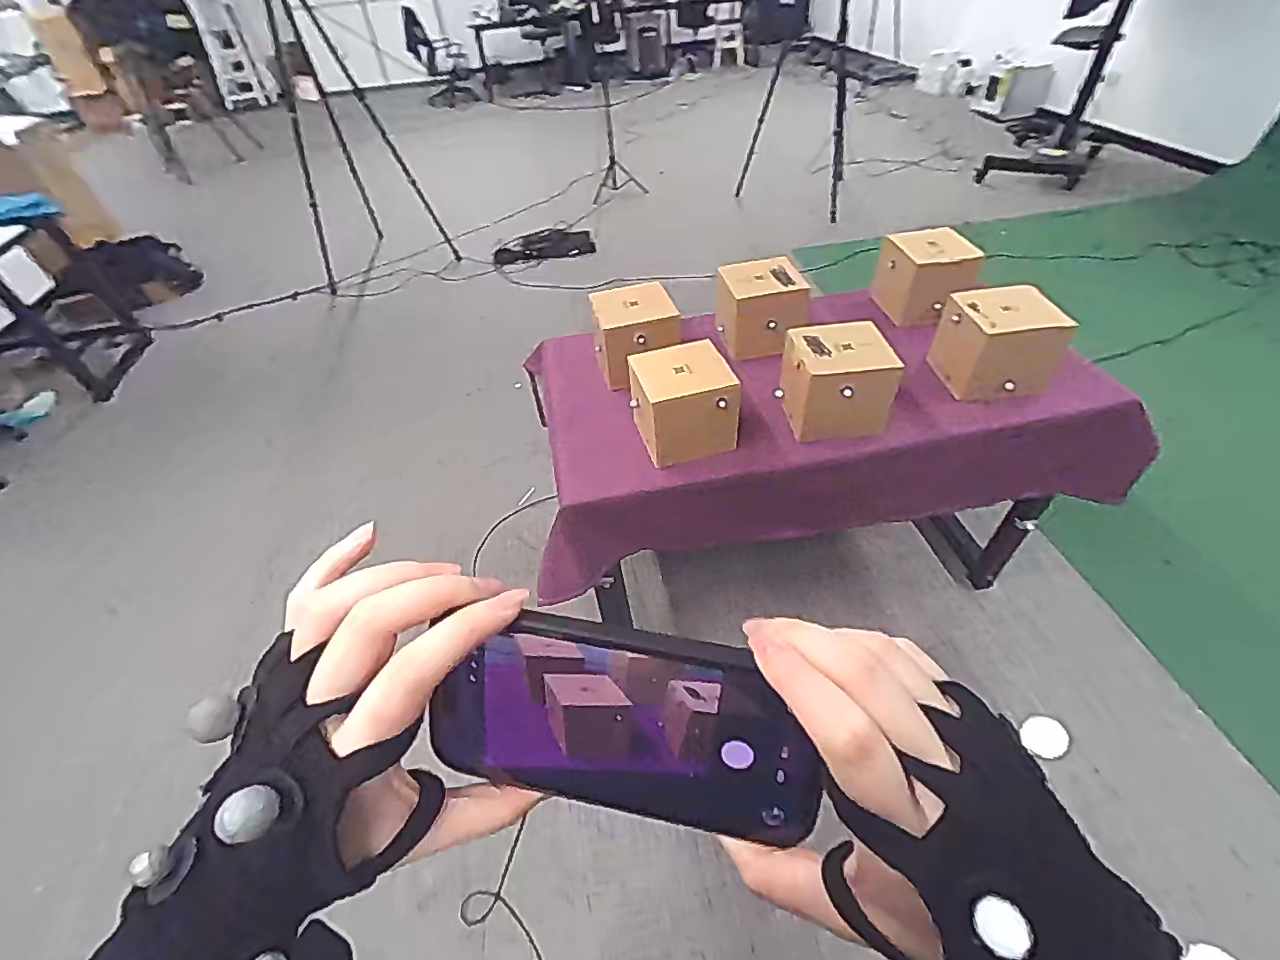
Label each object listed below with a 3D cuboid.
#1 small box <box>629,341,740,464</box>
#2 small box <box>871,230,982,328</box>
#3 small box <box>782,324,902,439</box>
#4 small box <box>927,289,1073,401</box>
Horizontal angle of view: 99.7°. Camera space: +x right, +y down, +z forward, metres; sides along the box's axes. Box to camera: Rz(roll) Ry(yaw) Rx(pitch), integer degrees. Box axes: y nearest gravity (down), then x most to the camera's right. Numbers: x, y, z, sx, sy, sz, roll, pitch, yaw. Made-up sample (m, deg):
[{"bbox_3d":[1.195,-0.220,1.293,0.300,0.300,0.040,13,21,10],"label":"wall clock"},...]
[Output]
[{"bbox_3d":[0.087,-0.152,1.091,0.179,0.176,0.168,-13,46,-9],"label":"small box"},{"bbox_3d":[0.714,-0.509,1.373,0.168,0.176,0.179,-8,47,-2],"label":"small box"},{"bbox_3d":[0.397,-0.198,1.105,0.179,0.176,0.168,-5,46,-1],"label":"small box"},{"bbox_3d":[0.754,-0.286,1.156,0.179,0.176,0.168,-5,46,0],"label":"small box"}]
